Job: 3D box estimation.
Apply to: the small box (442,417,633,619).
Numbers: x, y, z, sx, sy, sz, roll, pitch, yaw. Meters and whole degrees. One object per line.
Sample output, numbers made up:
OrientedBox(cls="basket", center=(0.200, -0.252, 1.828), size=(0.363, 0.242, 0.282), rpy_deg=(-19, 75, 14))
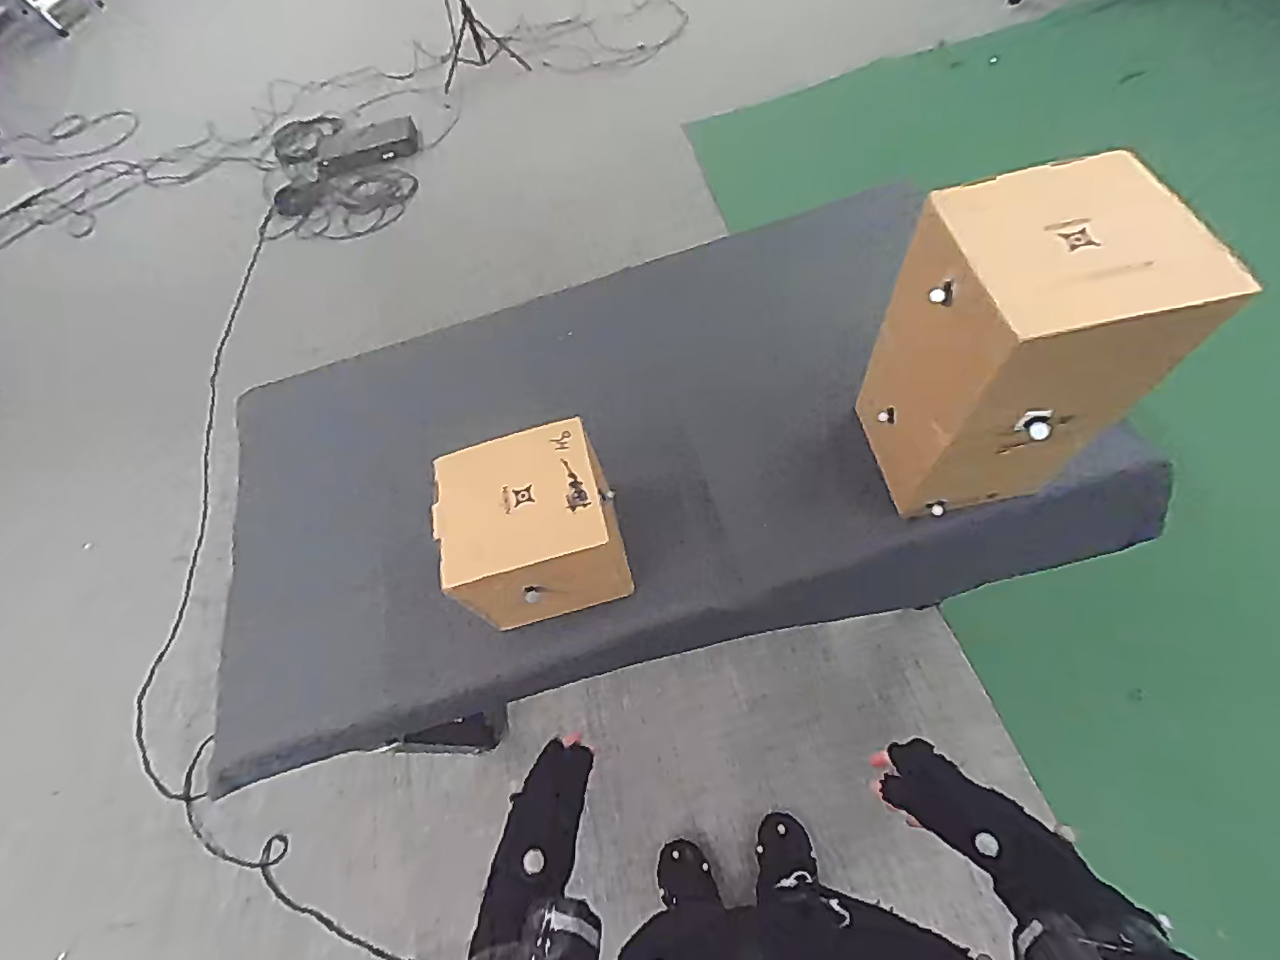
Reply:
OrientedBox(cls="small box", center=(-0.119, 0.055, 0.658), size=(0.179, 0.176, 0.168), rpy_deg=(-16, 60, 1))

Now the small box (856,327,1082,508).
OrientedBox(cls="small box", center=(0.378, -0.078, 0.647), size=(0.168, 0.176, 0.179), rpy_deg=(-11, 60, 4))

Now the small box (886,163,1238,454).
OrientedBox(cls="small box", center=(0.353, -0.149, 0.504), size=(0.168, 0.176, 0.179), rpy_deg=(-11, 62, 5))
